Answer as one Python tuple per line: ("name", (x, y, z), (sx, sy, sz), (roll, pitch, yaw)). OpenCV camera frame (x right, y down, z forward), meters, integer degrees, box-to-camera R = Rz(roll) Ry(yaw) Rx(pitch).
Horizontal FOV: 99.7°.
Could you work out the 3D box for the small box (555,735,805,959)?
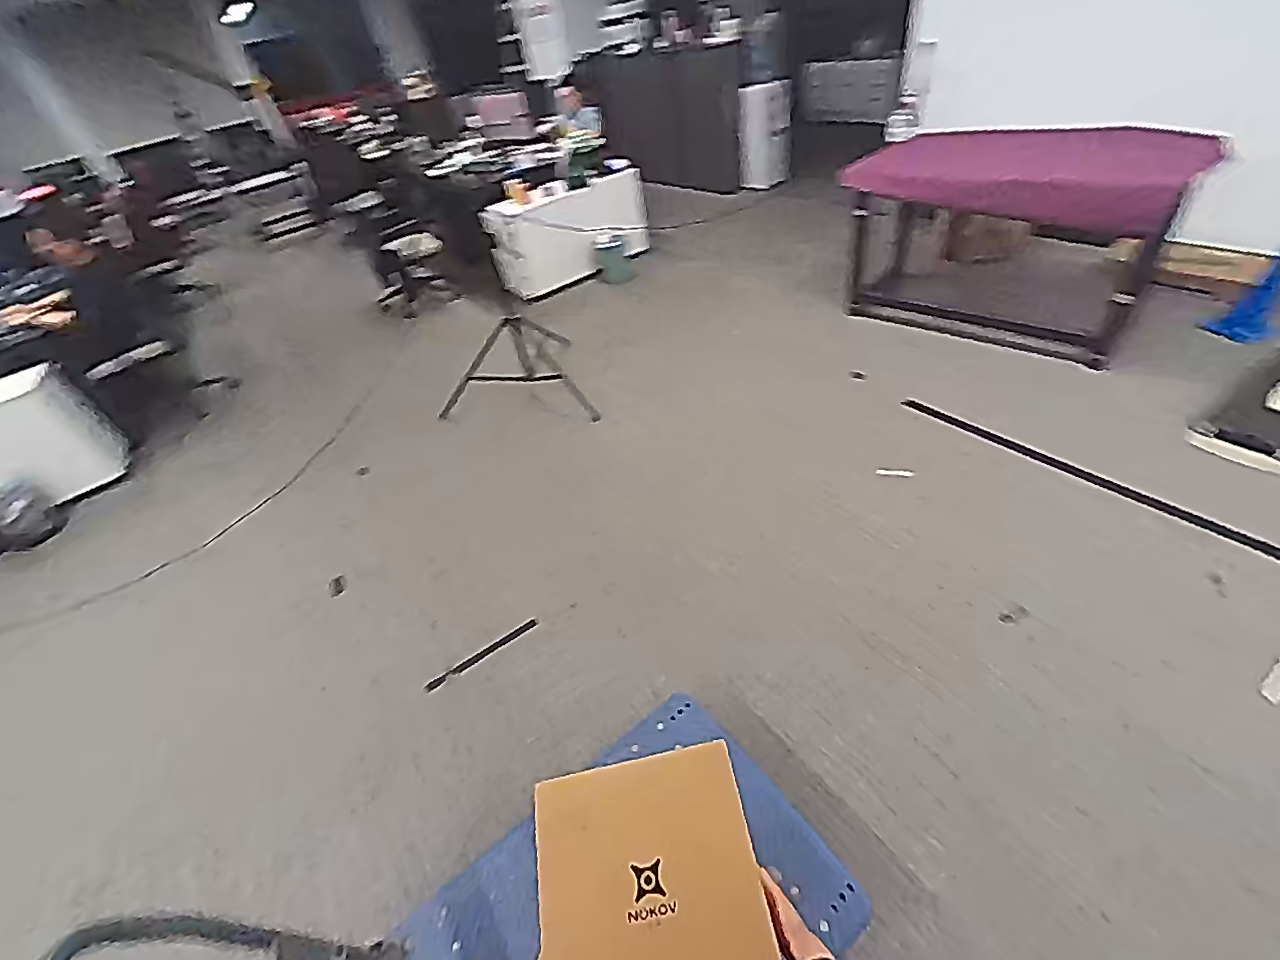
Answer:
("small box", (0.030, 0.343, 0.453), (0.168, 0.176, 0.179), (-12, 50, 0))
